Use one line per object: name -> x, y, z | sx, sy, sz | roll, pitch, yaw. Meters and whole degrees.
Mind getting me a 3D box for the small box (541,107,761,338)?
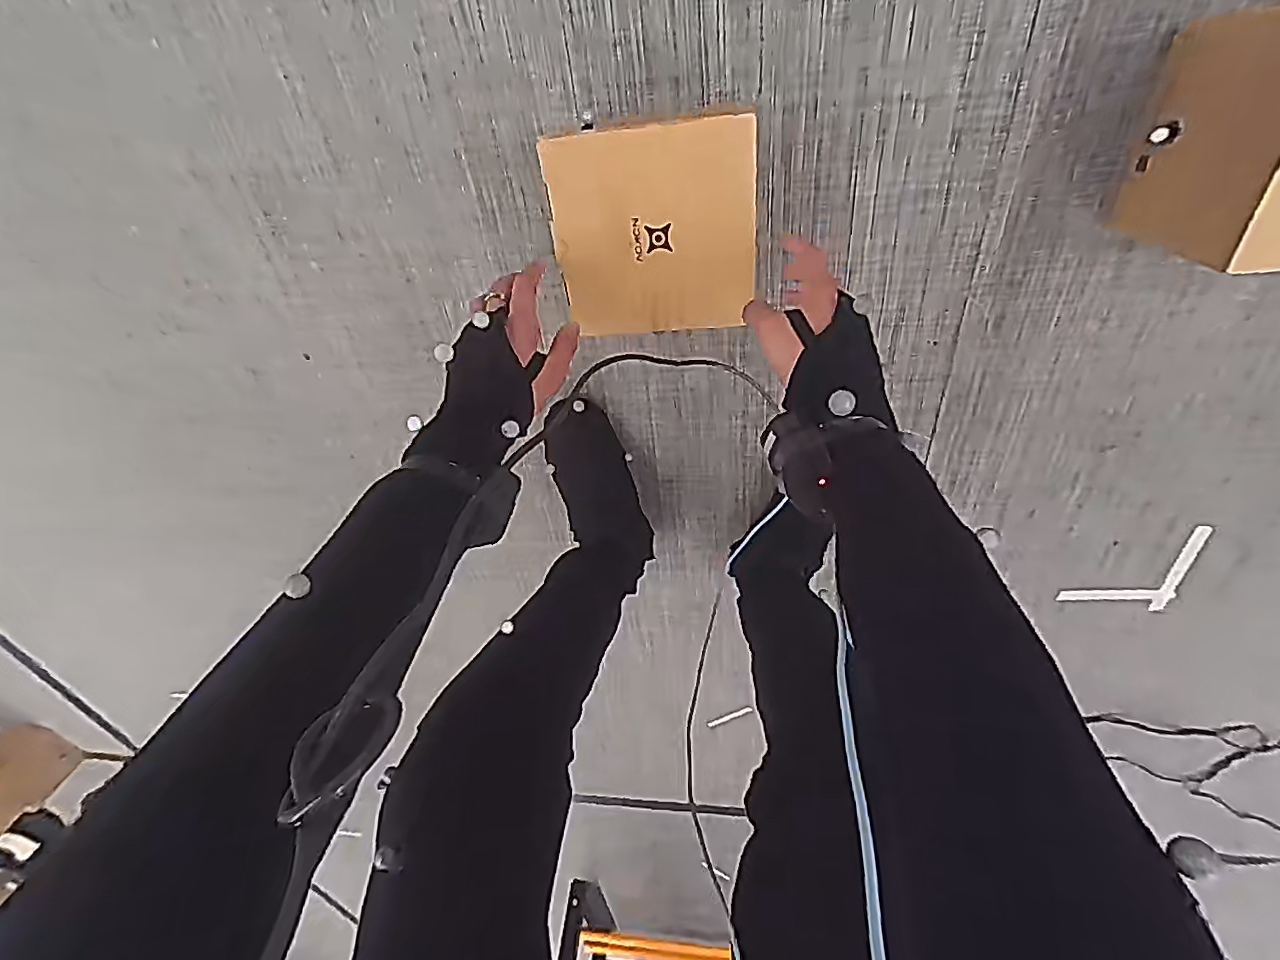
small box -> 0.023, -0.252, 0.527 | 0.179, 0.176, 0.168 | 0, 126, 10
